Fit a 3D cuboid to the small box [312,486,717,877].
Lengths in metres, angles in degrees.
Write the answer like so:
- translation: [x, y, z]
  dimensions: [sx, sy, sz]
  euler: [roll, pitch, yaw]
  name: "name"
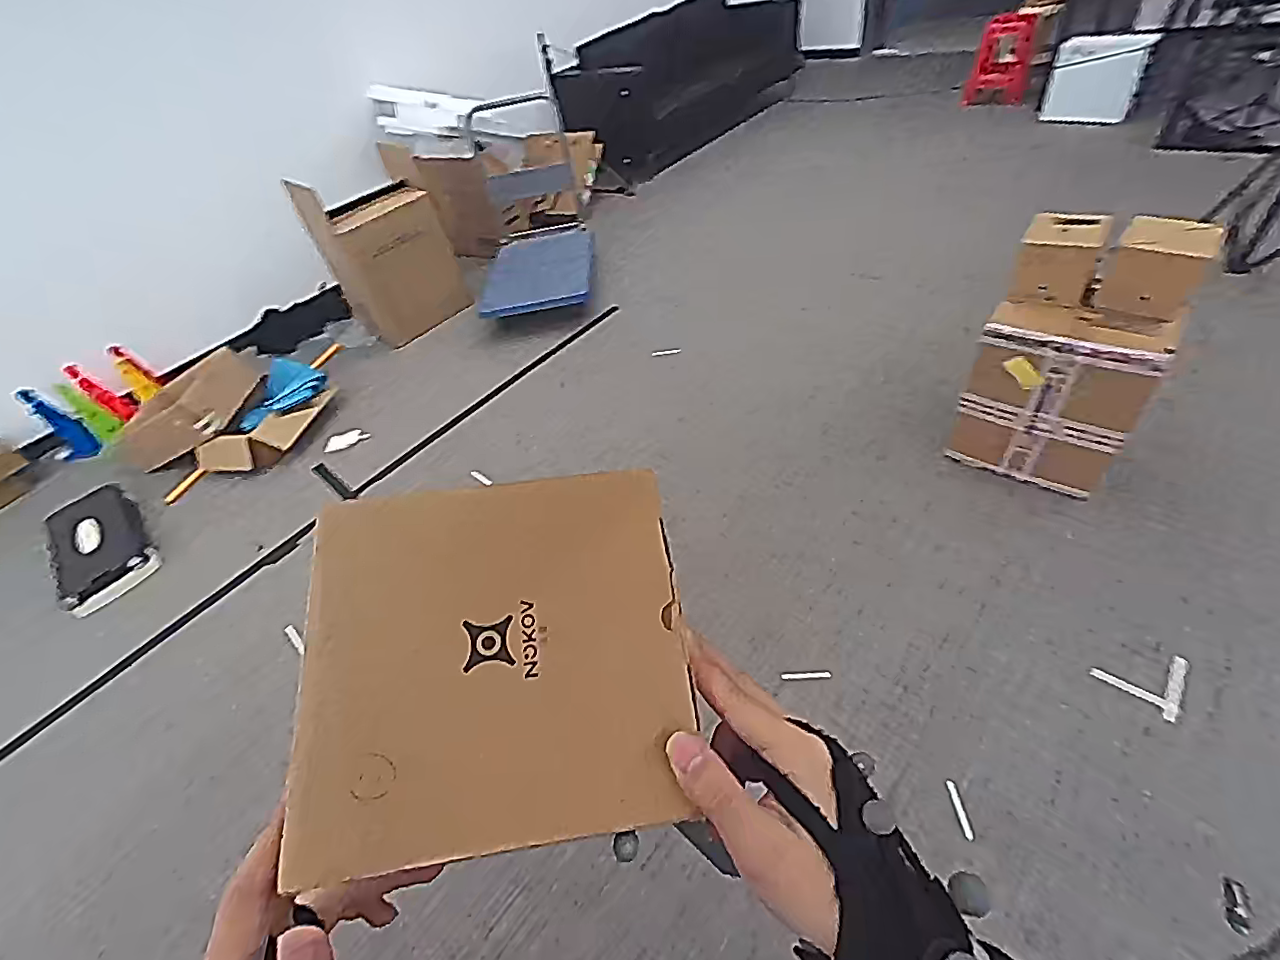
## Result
- translation: [-0.064, 0.120, 0.336]
  dimensions: [0.179, 0.176, 0.168]
  euler: [-6, 64, -6]
  name: "small box"
